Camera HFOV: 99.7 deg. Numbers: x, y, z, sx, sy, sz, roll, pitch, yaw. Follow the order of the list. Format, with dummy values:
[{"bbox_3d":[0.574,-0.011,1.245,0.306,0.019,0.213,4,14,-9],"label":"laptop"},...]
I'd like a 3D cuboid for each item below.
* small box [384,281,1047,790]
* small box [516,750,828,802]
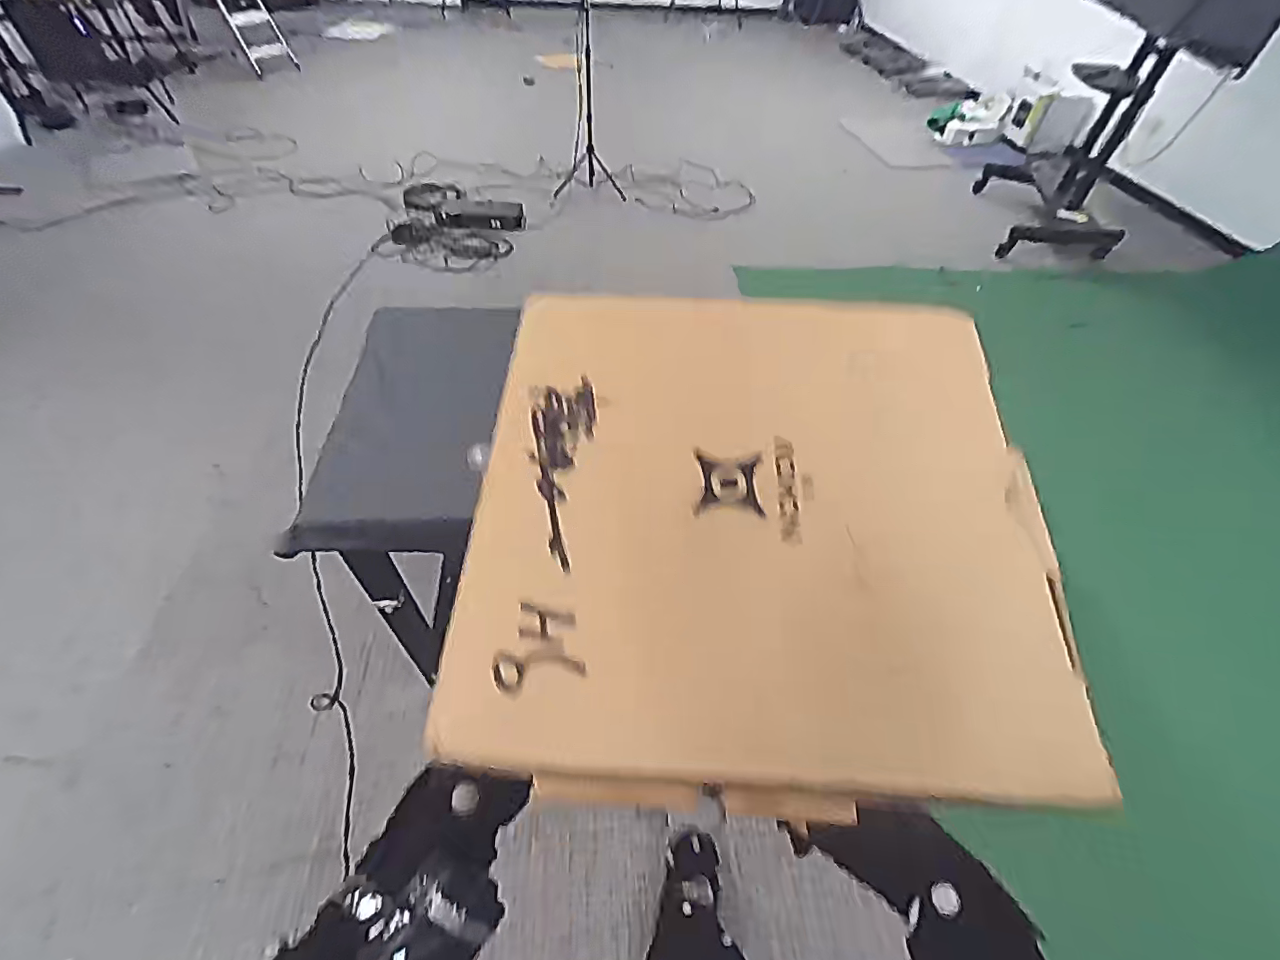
[{"bbox_3d":[0.024,0.037,0.247,0.179,0.176,0.168,4,61,2],"label":"small box"},{"bbox_3d":[0.021,0.120,0.387,0.168,0.176,0.179,4,62,2],"label":"small box"}]
